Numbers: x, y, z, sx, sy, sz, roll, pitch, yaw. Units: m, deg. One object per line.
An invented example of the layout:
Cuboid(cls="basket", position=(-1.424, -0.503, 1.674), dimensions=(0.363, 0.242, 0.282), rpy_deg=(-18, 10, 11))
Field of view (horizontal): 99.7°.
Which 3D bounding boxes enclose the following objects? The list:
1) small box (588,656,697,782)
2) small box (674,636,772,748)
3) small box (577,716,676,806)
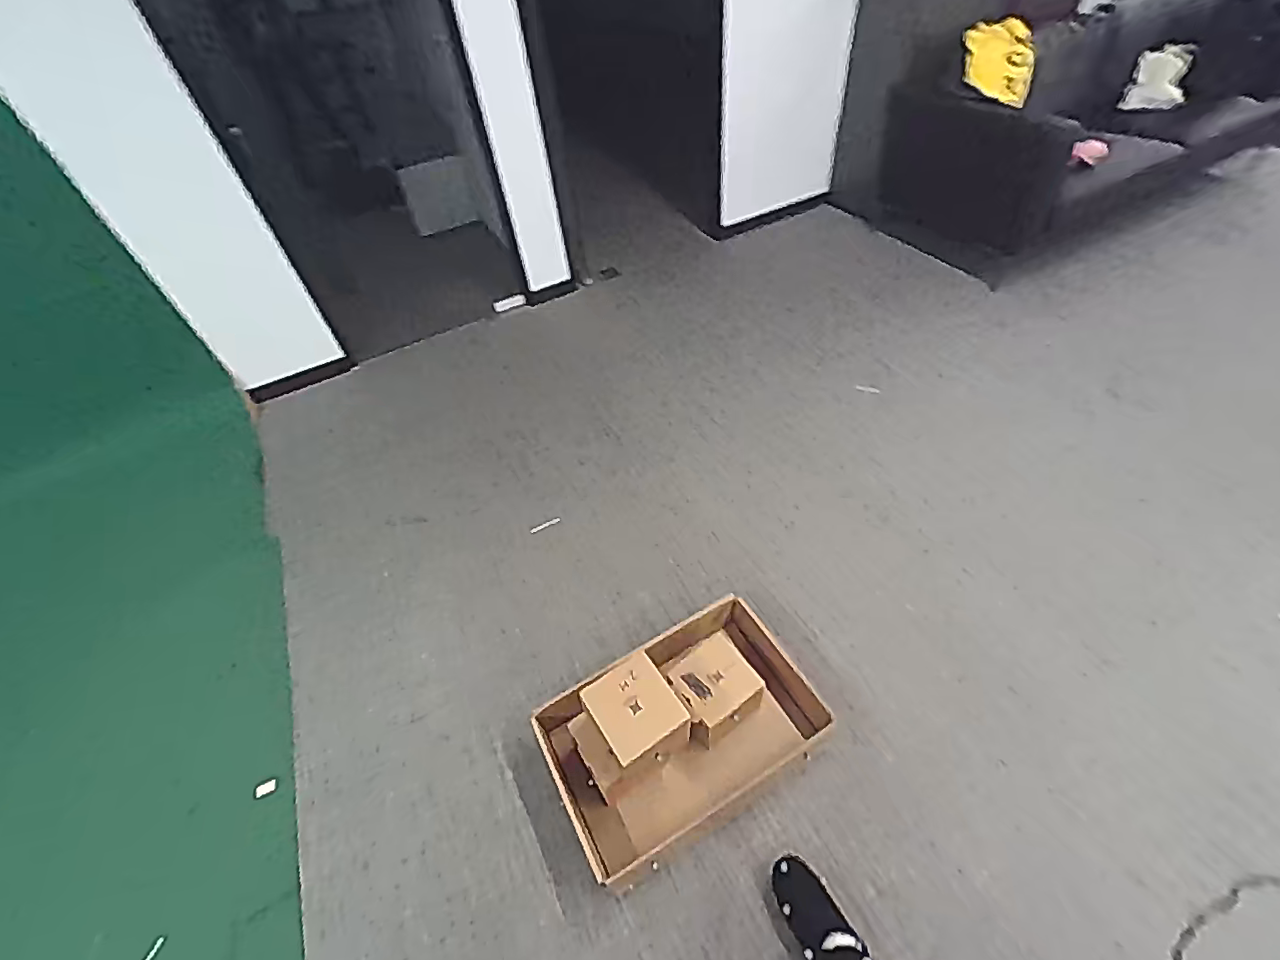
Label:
Cuboid(cls="small box", position=(0.009, 0.522, 1.167), dimensions=(0.168, 0.176, 0.179), rpy_deg=(-29, 52, -19))
Cuboid(cls="small box", position=(0.207, 0.532, 1.348), dimensions=(0.179, 0.176, 0.168), rpy_deg=(-32, 52, -18))
Cuboid(cls="small box", position=(-0.027, 0.639, 1.287), dimensions=(0.179, 0.176, 0.168), rpy_deg=(-28, 52, -18))
